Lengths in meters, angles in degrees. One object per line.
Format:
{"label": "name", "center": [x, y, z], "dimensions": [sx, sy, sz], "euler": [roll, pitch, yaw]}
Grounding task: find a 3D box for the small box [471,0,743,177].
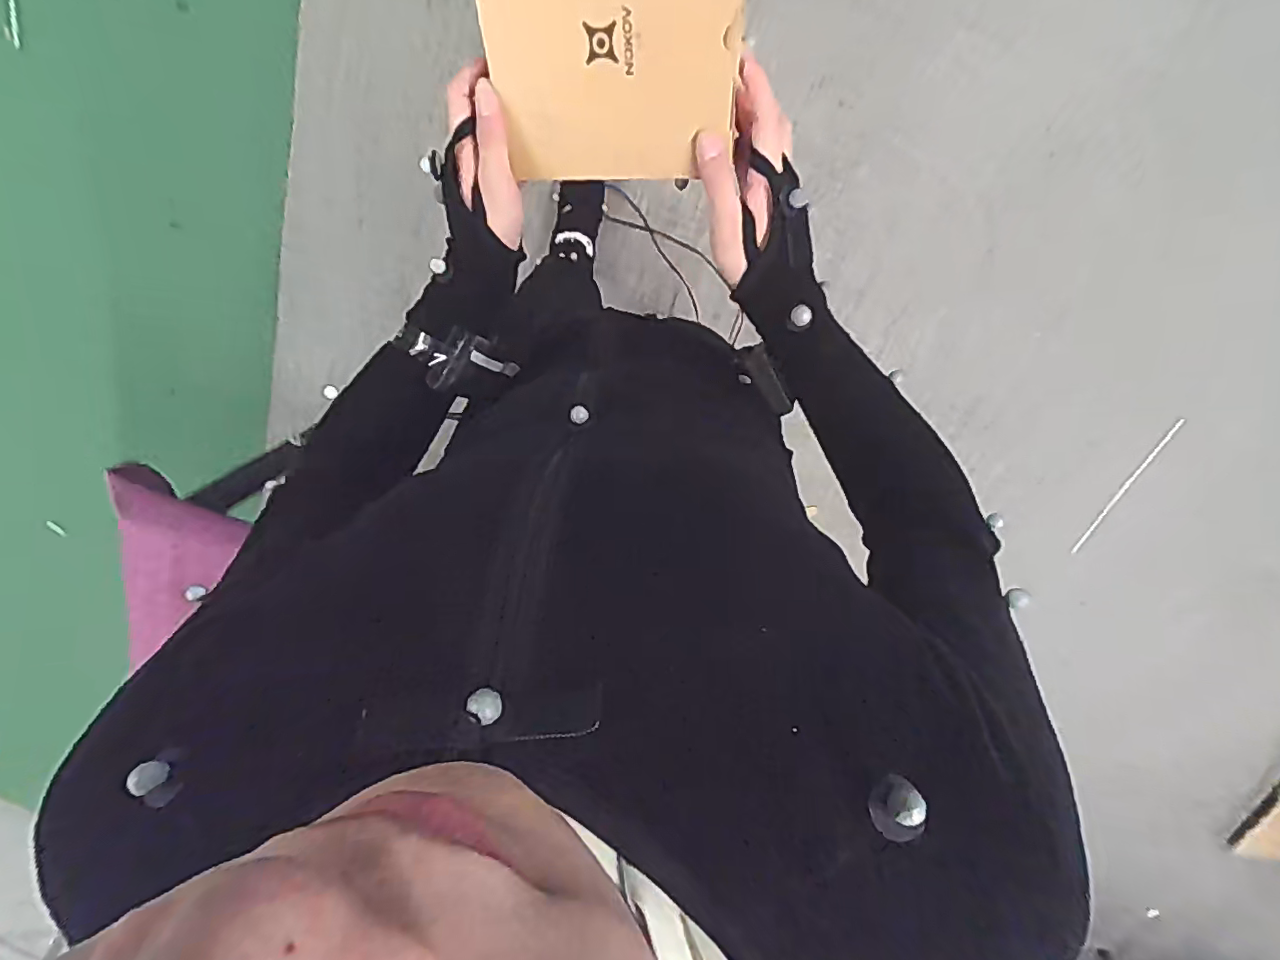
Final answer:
{"label": "small box", "center": [-0.012, -0.341, 0.410], "dimensions": [0.179, 0.176, 0.168], "euler": [3, 133, 7]}
